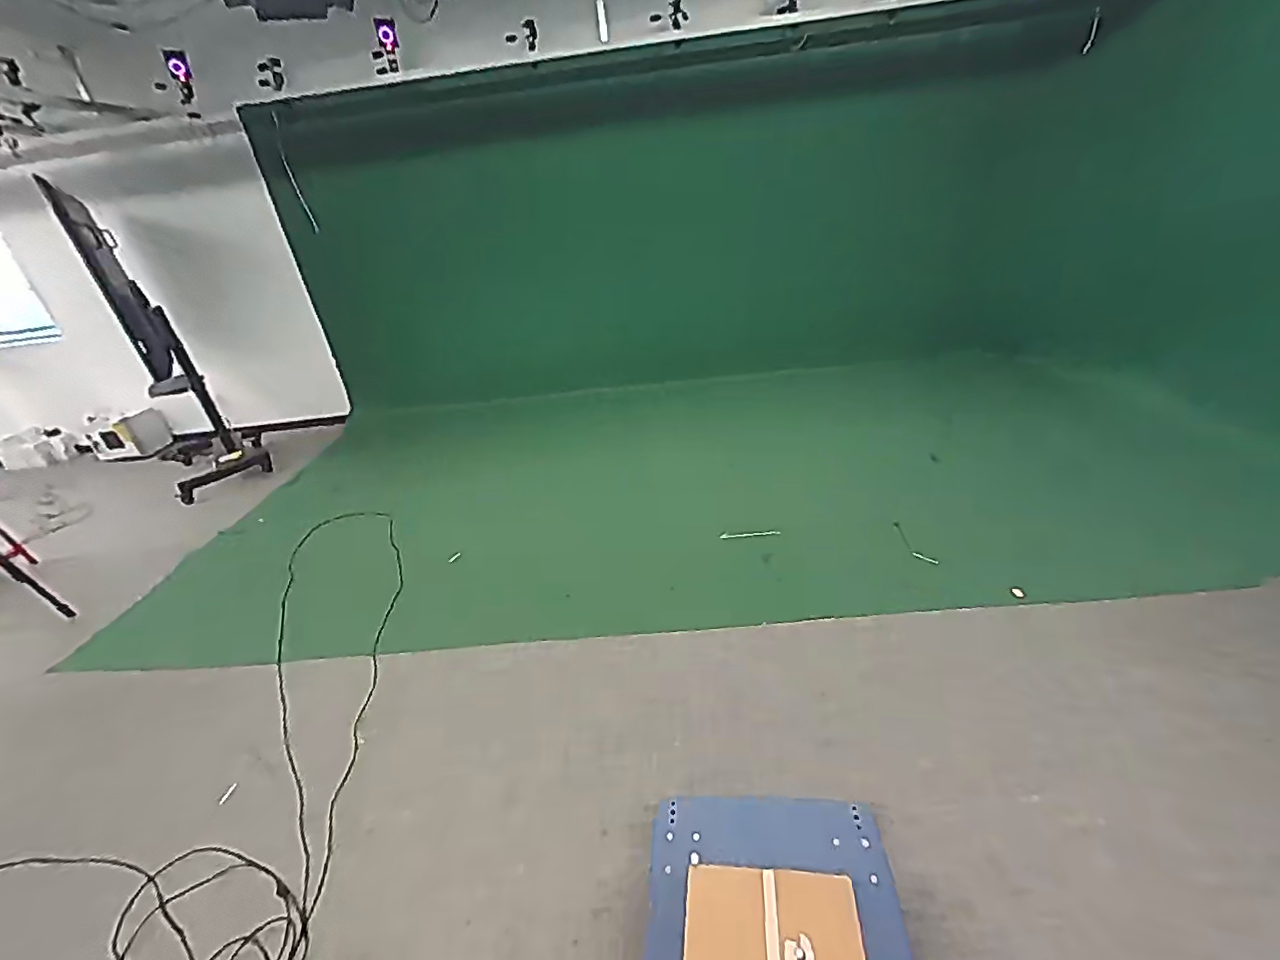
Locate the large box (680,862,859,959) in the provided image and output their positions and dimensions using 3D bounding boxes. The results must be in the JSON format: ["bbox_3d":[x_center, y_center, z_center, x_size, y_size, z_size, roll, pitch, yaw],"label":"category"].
[{"bbox_3d":[0.235,0.994,0.965,0.320,0.320,0.408,-1,28,10],"label":"large box"}]
